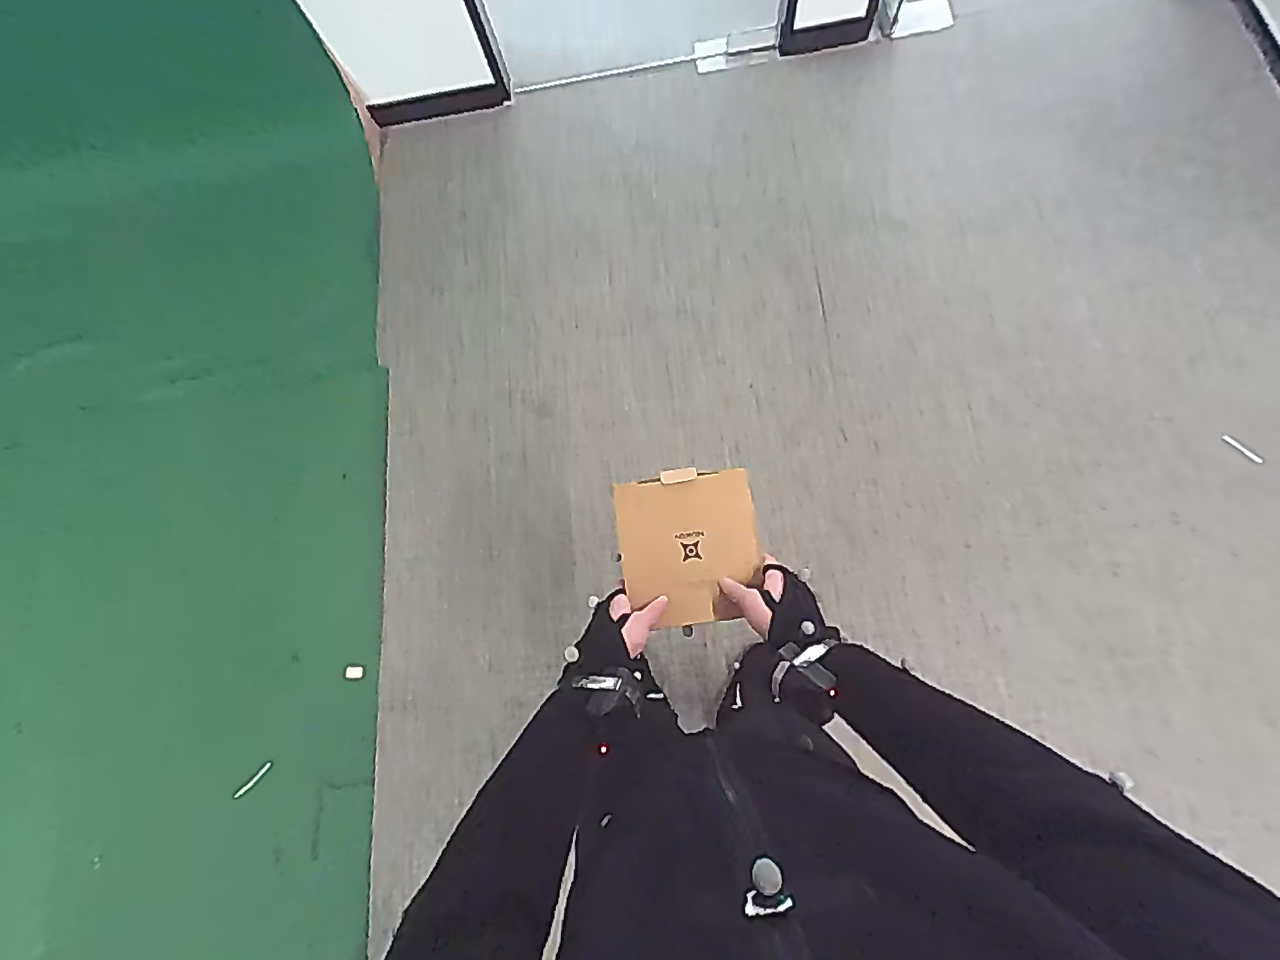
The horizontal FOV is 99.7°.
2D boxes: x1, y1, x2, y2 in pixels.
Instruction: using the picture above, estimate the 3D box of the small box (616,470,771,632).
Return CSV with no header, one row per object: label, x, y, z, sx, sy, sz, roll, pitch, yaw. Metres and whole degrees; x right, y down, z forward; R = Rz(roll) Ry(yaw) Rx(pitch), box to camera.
small box,0.062,0.098,0.694,0.168,0.176,0.179,-6,76,2
